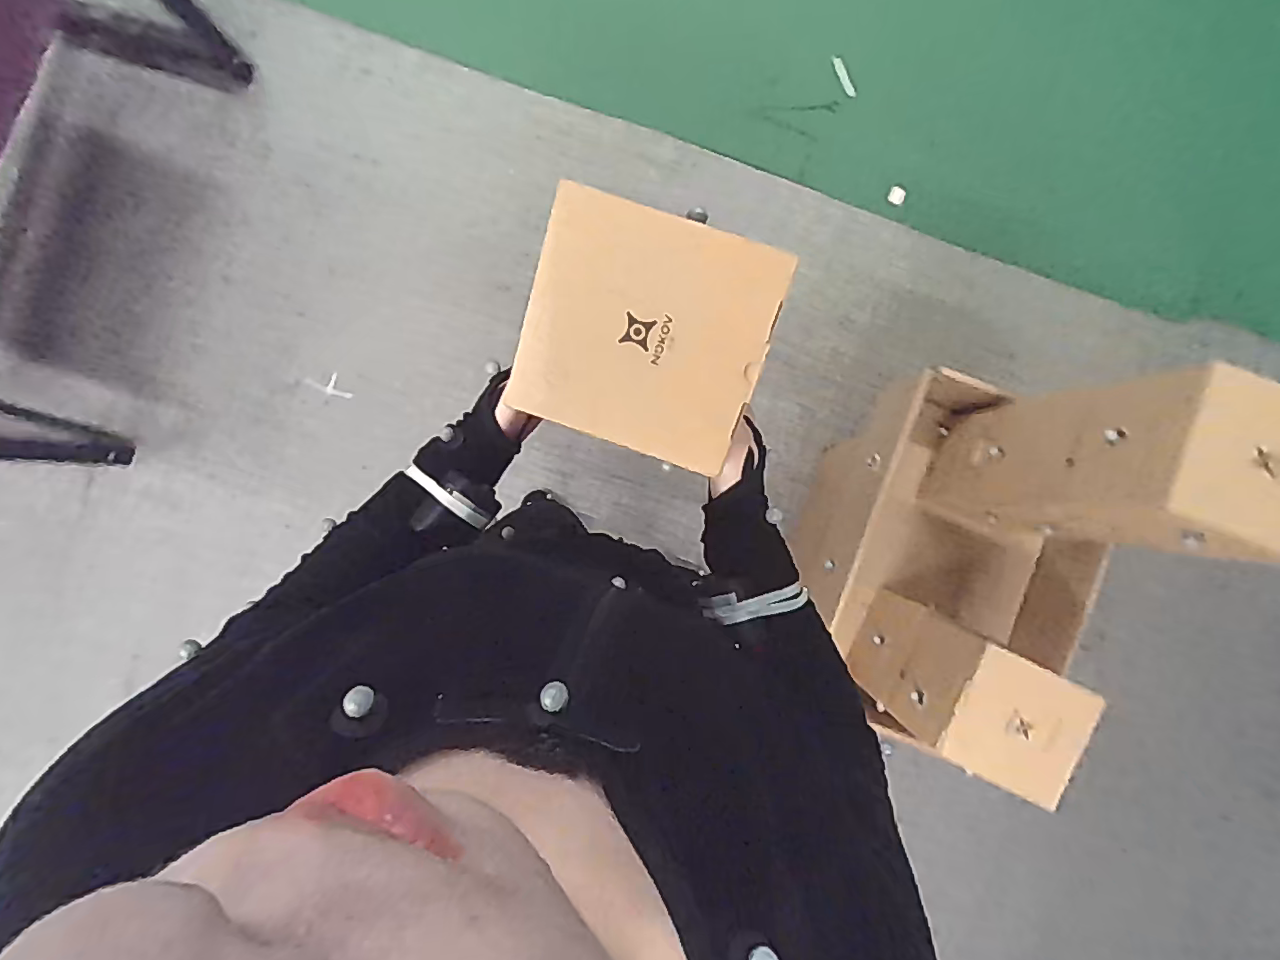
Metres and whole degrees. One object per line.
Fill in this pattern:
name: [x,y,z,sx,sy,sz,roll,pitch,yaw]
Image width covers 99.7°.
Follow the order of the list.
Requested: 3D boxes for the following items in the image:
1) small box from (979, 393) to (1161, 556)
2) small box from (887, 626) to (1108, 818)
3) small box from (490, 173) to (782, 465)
small box: [0.640,-0.006,0.792,0.168,0.176,0.179,20,88,0]
small box: [0.497,0.330,0.782,0.179,0.176,0.168,28,90,0]
small box: [-0.001,-0.128,0.466,0.179,0.176,0.168,18,104,1]
